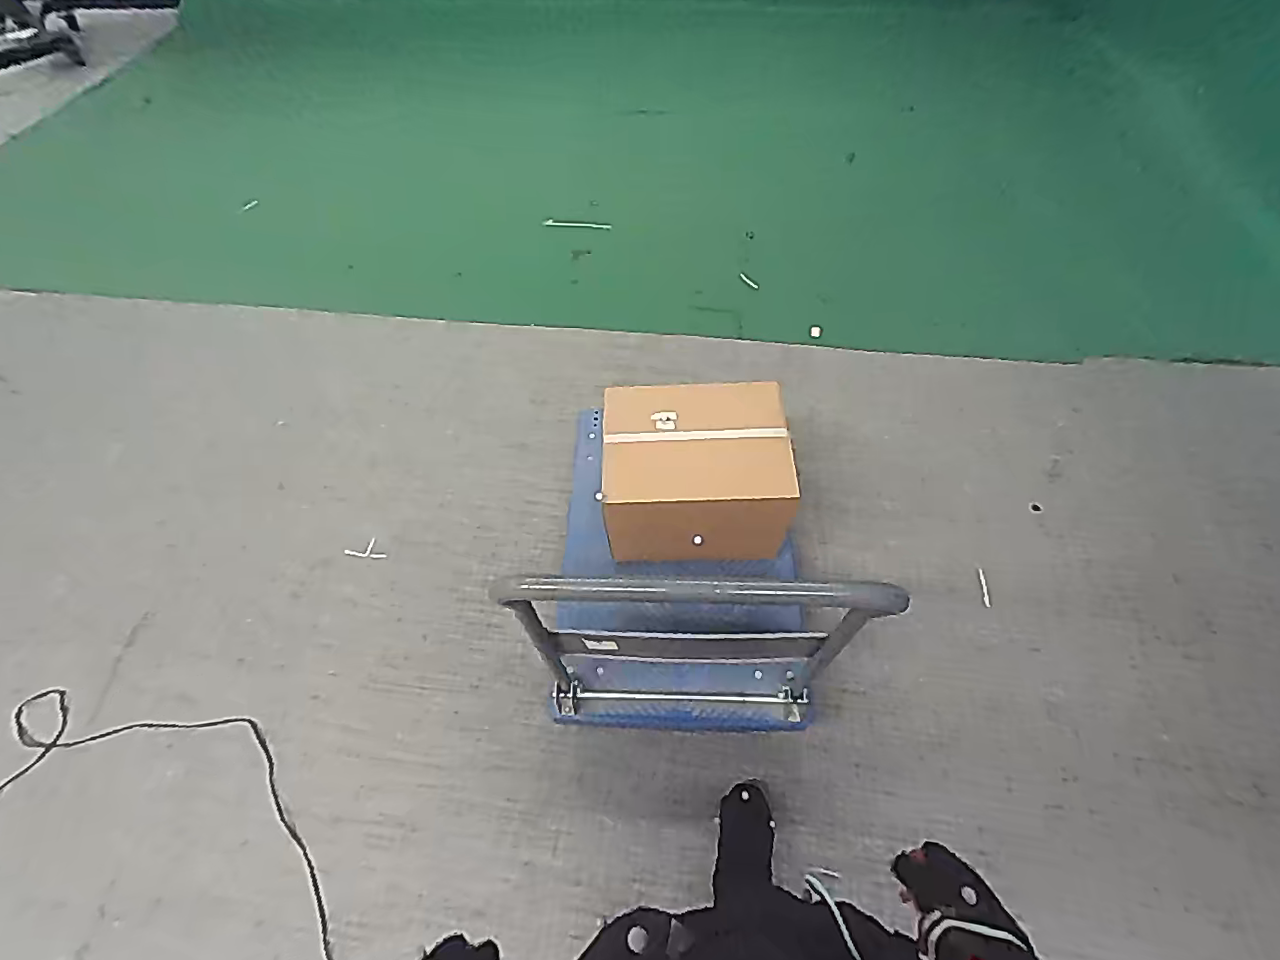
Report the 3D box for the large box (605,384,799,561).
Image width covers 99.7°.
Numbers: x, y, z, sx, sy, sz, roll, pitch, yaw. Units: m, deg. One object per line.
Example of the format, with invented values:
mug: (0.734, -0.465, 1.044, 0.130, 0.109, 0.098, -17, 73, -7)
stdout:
large box: (0.134, -0.007, 1.313, 0.408, 0.320, 0.320, -2, 57, 2)
